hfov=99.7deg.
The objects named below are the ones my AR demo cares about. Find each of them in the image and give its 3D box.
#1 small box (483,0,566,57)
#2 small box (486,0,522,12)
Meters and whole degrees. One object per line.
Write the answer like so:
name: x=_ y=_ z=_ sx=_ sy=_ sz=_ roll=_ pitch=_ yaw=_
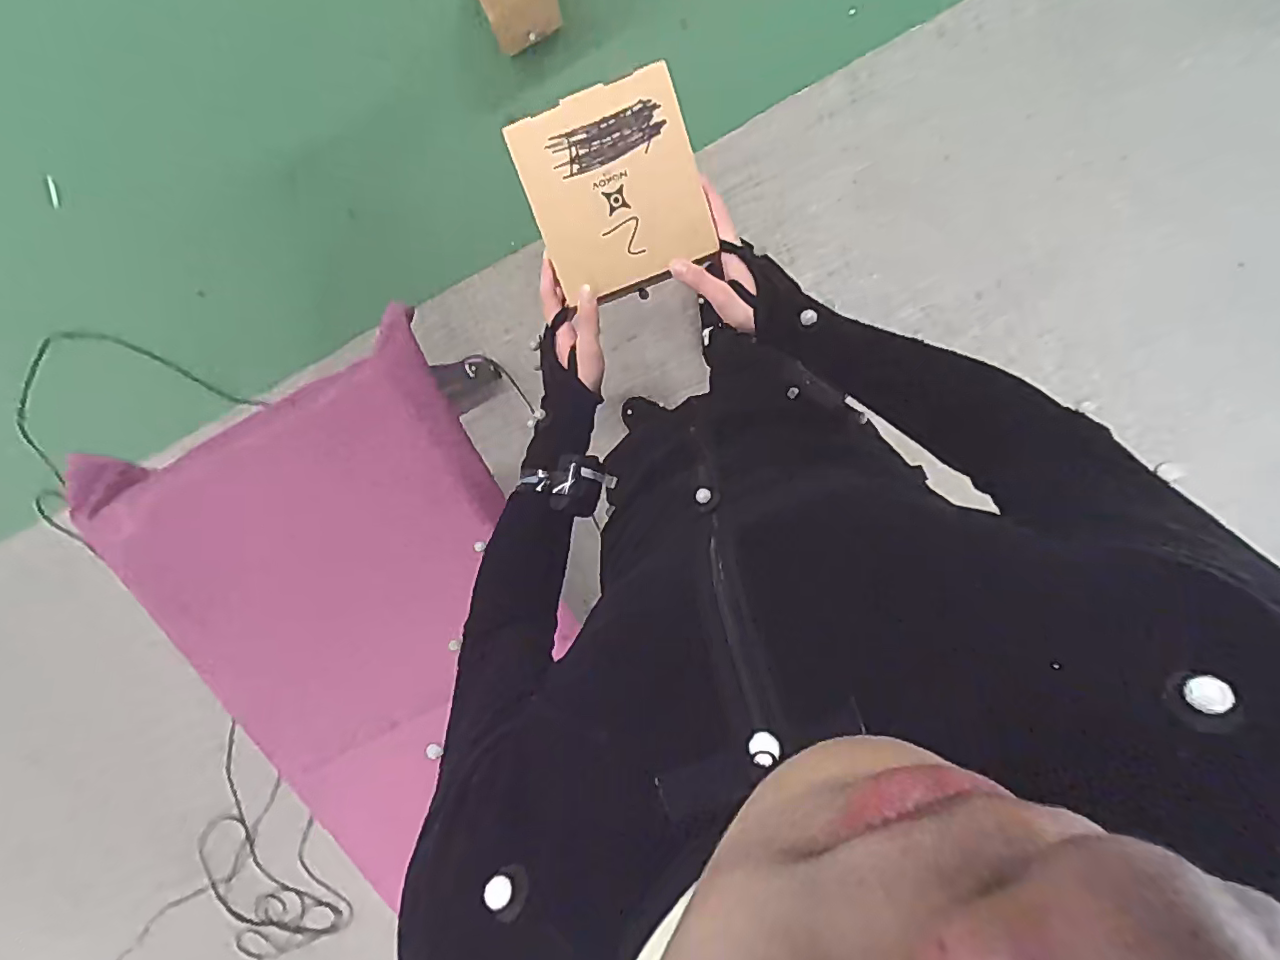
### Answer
small box: x=-0.291 y=-1.160 z=1.270 sx=0.168 sy=0.176 sz=0.179 roll=-26 pitch=102 yaw=7
small box: x=-0.291 y=-1.124 z=1.112 sx=0.168 sy=0.176 sz=0.179 roll=-26 pitch=101 yaw=7
